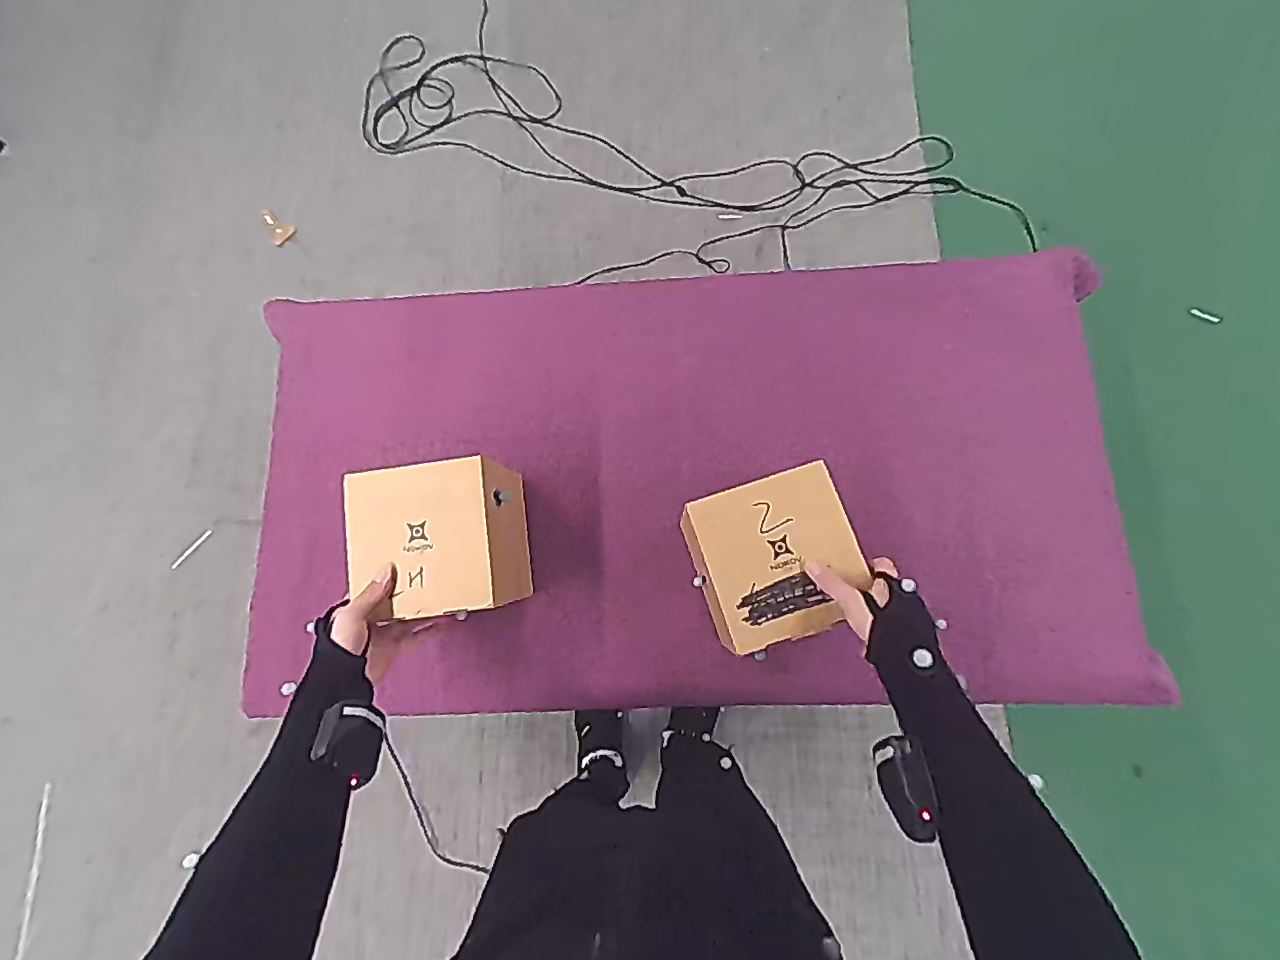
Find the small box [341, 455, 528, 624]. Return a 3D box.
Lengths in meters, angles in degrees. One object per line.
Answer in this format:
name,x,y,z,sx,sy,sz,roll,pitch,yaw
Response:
small box,-0.248,0.076,0.683,0.168,0.176,0.179,-7,82,3
